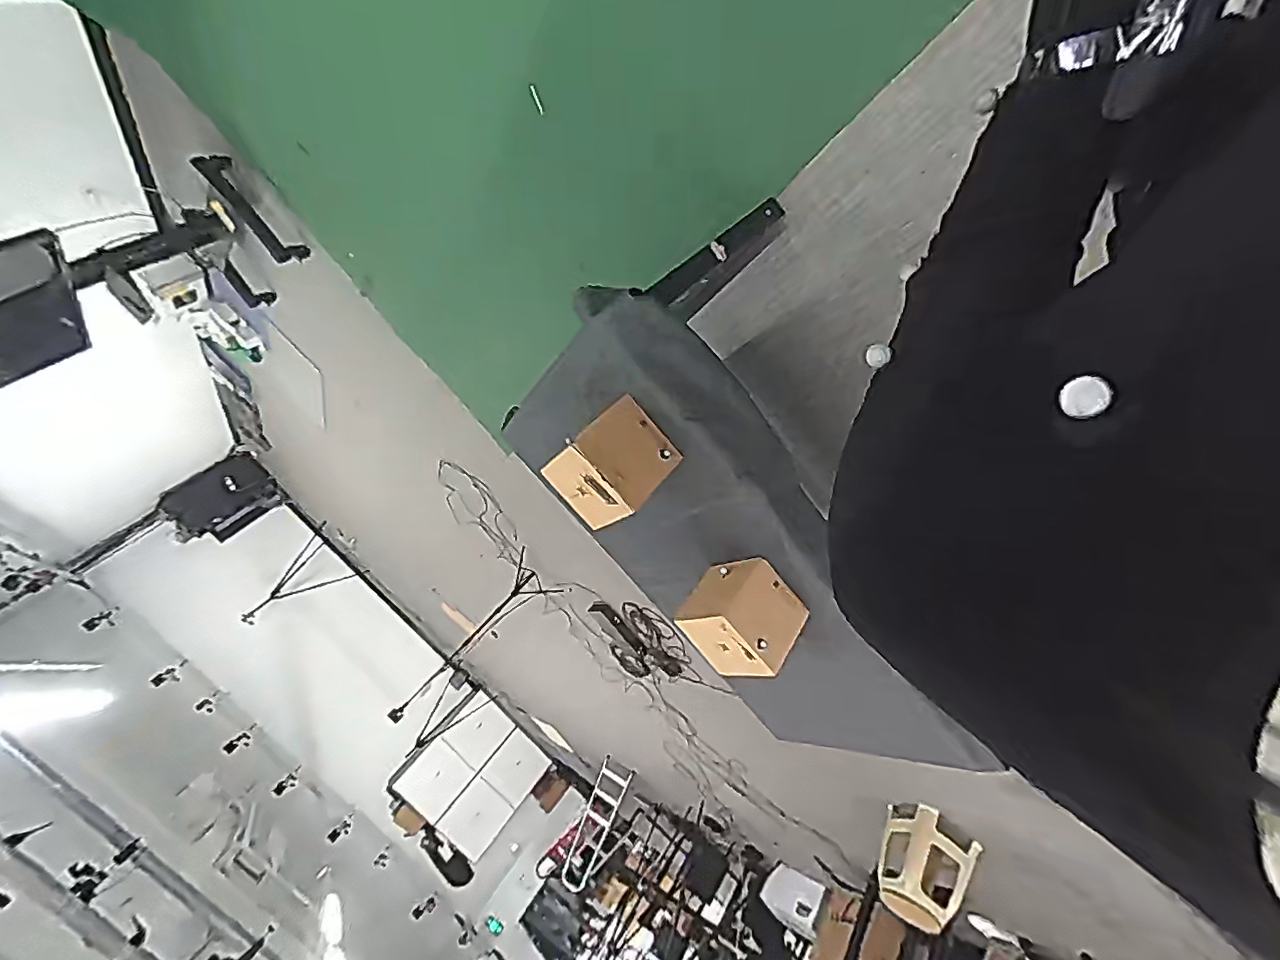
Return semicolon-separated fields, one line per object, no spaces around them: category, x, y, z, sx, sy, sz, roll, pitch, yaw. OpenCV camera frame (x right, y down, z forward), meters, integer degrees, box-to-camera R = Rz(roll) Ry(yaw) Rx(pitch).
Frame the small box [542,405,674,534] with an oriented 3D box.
small box;-0.057;-0.021;1.065;0.168;0.176;0.179;48;148;-9

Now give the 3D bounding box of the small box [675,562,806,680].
small box;0.213;0.294;1.137;0.168;0.176;0.179;49;147;-9
